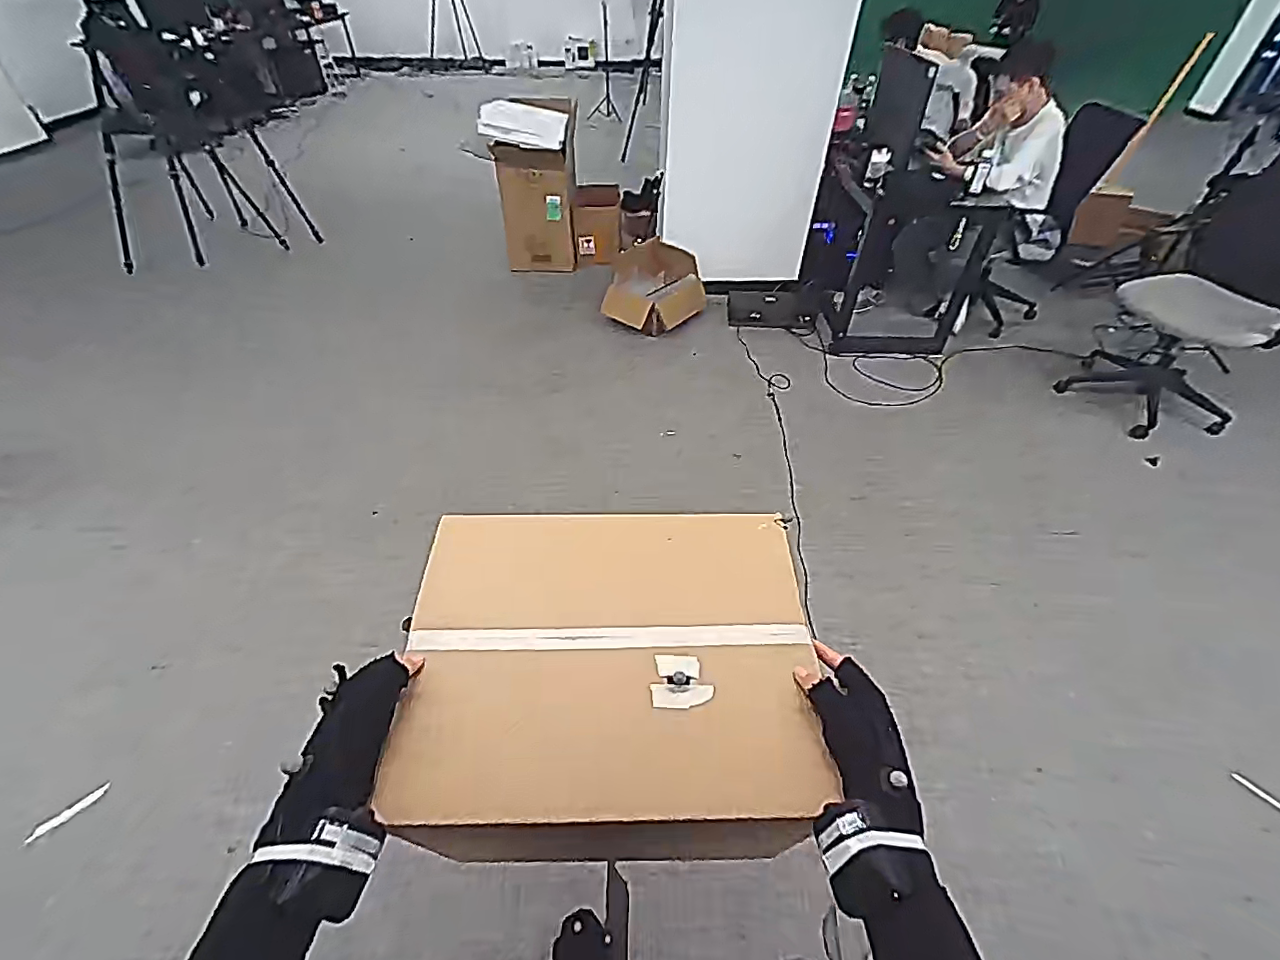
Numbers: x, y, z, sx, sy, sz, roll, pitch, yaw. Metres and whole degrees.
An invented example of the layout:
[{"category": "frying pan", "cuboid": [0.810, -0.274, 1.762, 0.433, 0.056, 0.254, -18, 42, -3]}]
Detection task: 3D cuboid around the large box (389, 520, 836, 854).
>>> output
[{"category": "large box", "cuboid": [-0.030, 0.263, 0.681, 0.408, 0.320, 0.320, 1, 51, -2]}]
